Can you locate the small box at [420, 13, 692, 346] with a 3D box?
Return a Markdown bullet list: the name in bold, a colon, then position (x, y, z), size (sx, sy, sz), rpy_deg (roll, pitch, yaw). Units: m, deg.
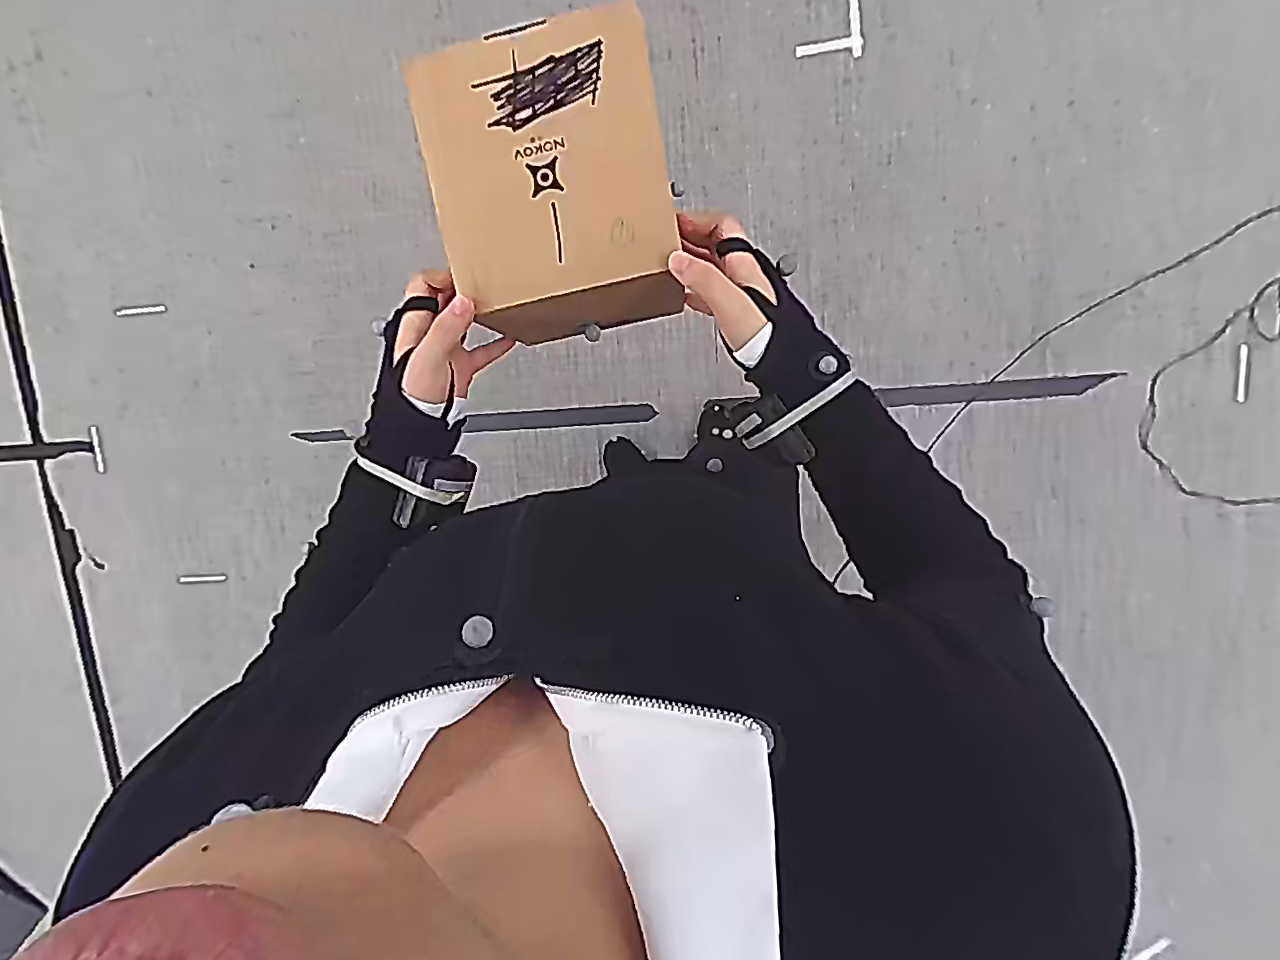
- **small box**: position (-0.054, -0.224, 0.455), size (0.168, 0.176, 0.179), rpy_deg (-11, 96, 6)
